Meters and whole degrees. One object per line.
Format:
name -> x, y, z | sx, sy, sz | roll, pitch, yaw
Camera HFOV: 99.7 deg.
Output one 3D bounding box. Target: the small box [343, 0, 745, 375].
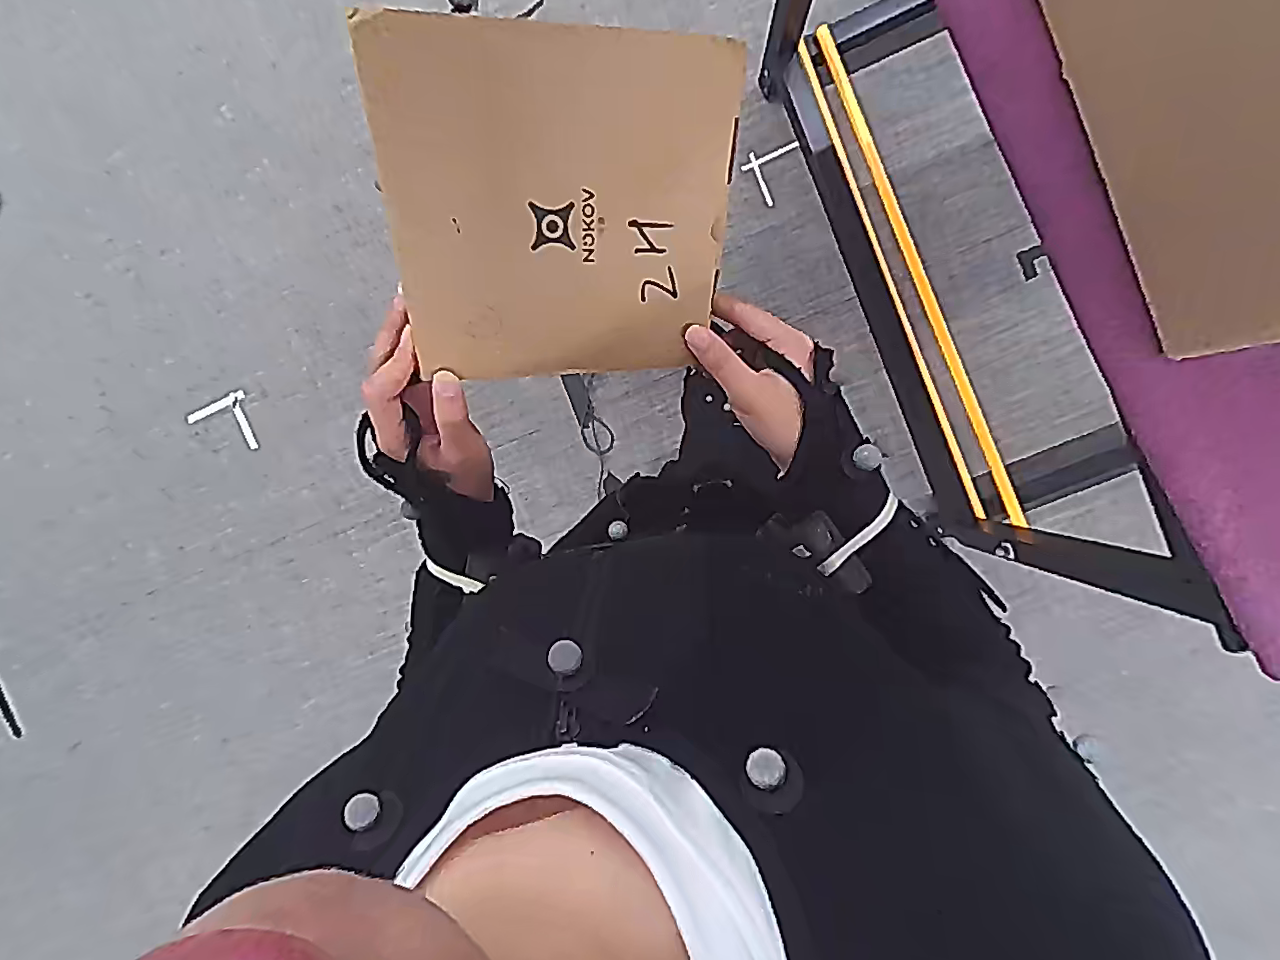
small box -> -0.058, -0.180, 0.341 | 0.179, 0.176, 0.168 | -7, 128, -13
